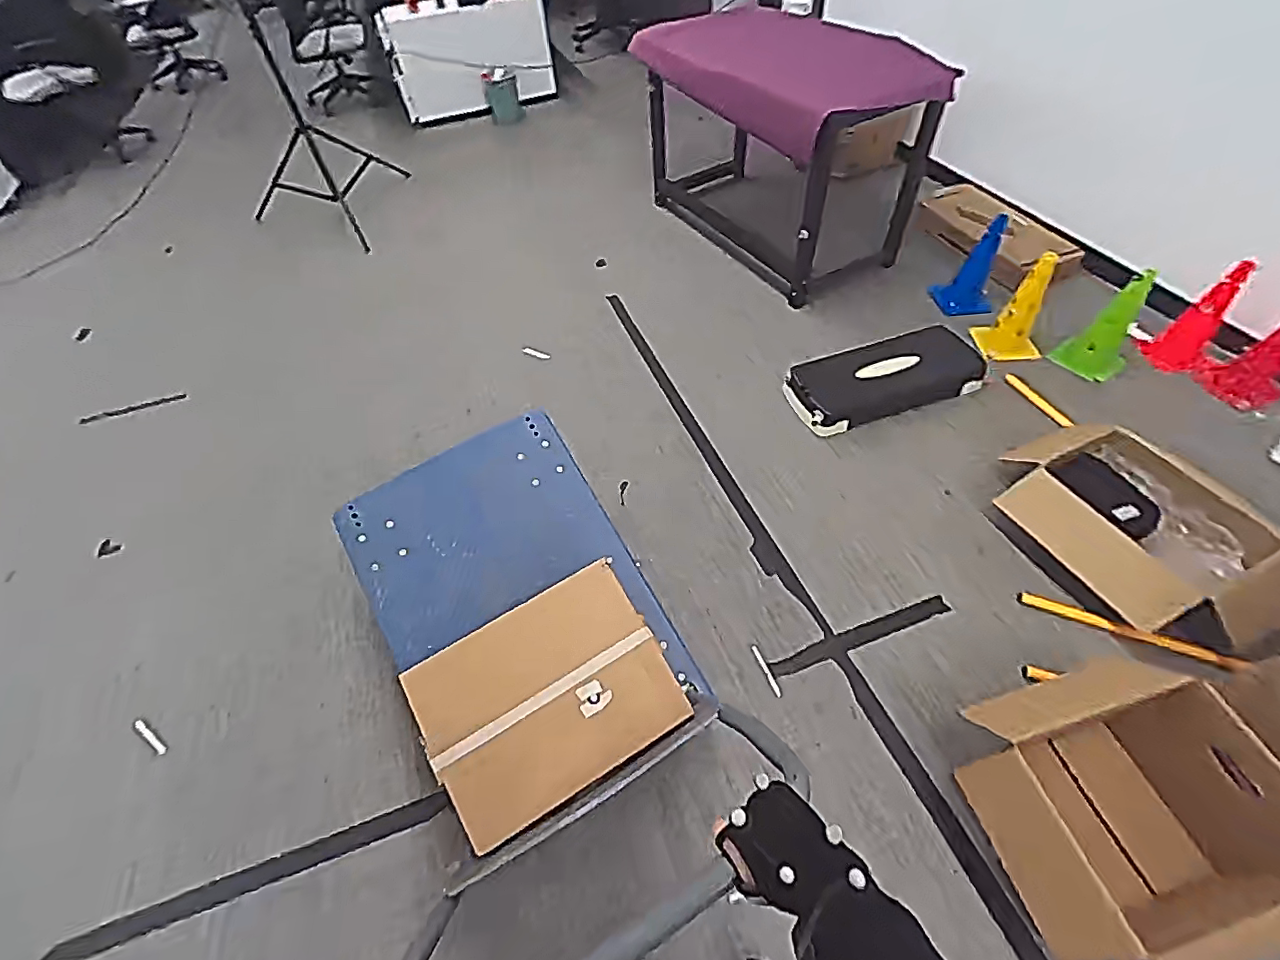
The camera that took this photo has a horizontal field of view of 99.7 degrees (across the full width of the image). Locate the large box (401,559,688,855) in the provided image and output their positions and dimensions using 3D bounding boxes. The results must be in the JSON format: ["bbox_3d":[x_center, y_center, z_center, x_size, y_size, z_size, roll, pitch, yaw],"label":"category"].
[{"bbox_3d":[-0.169,0.416,1.054,0.408,0.320,0.320,-29,75,-13],"label":"large box"}]
